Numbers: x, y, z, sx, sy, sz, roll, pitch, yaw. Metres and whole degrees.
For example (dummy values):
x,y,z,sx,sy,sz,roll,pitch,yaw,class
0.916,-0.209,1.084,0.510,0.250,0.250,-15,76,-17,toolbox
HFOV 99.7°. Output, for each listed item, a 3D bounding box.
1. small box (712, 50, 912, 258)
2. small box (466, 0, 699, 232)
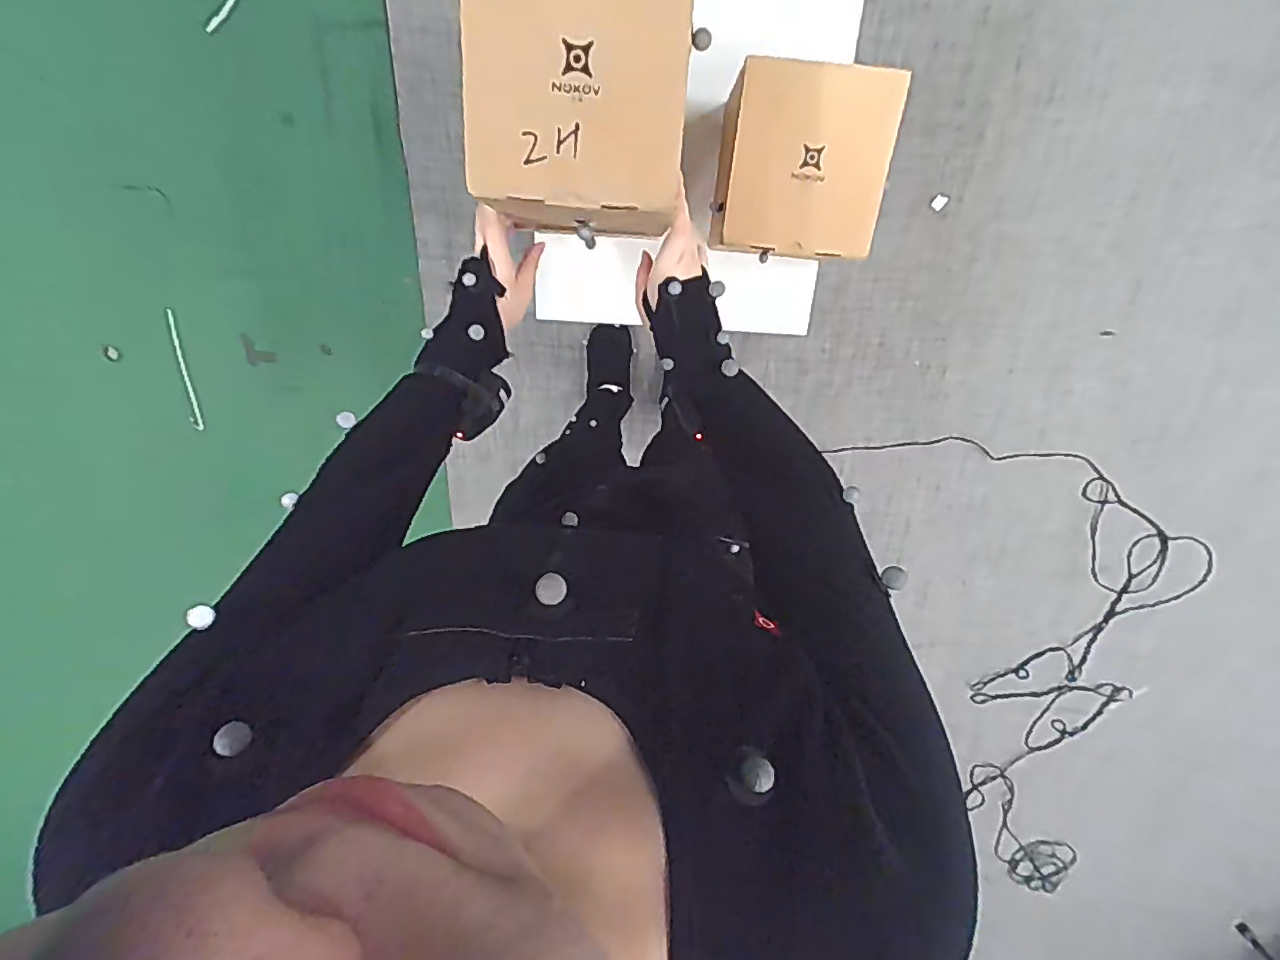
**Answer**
x,y,z,sx,sy,sz,roll,pitch,yaw,class
0.182,-0.364,0.635,0.168,0.176,0.179,6,114,0,small box
-0.045,-0.326,0.471,0.168,0.176,0.179,5,110,-1,small box
